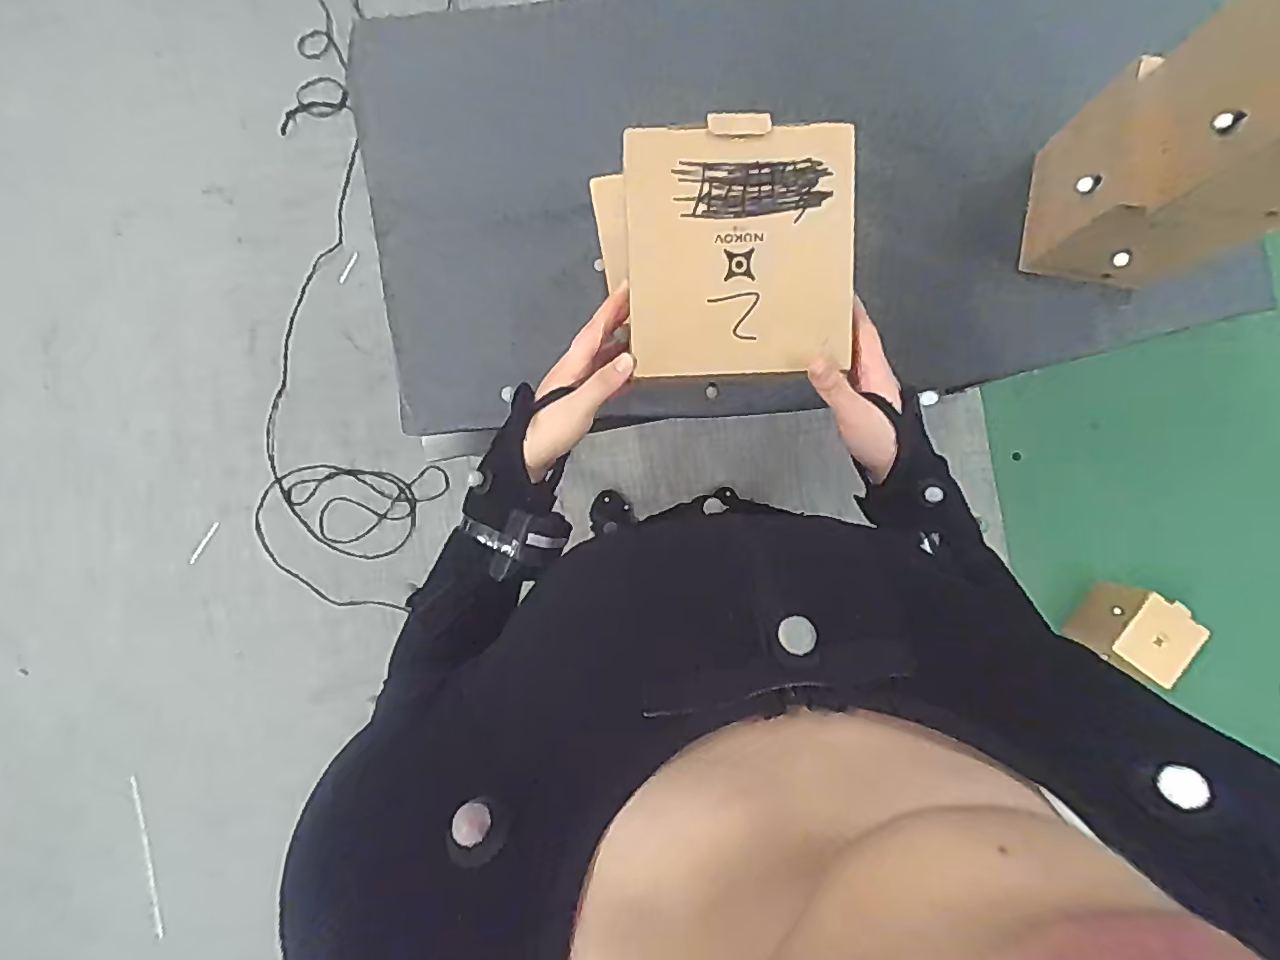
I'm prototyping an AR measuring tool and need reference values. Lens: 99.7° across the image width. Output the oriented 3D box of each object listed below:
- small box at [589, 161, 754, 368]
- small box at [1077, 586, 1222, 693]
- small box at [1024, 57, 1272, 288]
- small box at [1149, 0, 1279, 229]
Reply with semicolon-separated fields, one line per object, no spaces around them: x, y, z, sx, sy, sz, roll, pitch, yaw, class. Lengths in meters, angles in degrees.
0.036;-0.259;0.687;0.168;0.176;0.179;-10;87;2;small box
1.251;0.388;1.349;0.168;0.176;0.179;36;90;3;small box
0.610;-0.356;0.658;0.168;0.176;0.179;10;87;3;small box
0.623;-0.355;0.495;0.168;0.176;0.179;5;86;2;small box
